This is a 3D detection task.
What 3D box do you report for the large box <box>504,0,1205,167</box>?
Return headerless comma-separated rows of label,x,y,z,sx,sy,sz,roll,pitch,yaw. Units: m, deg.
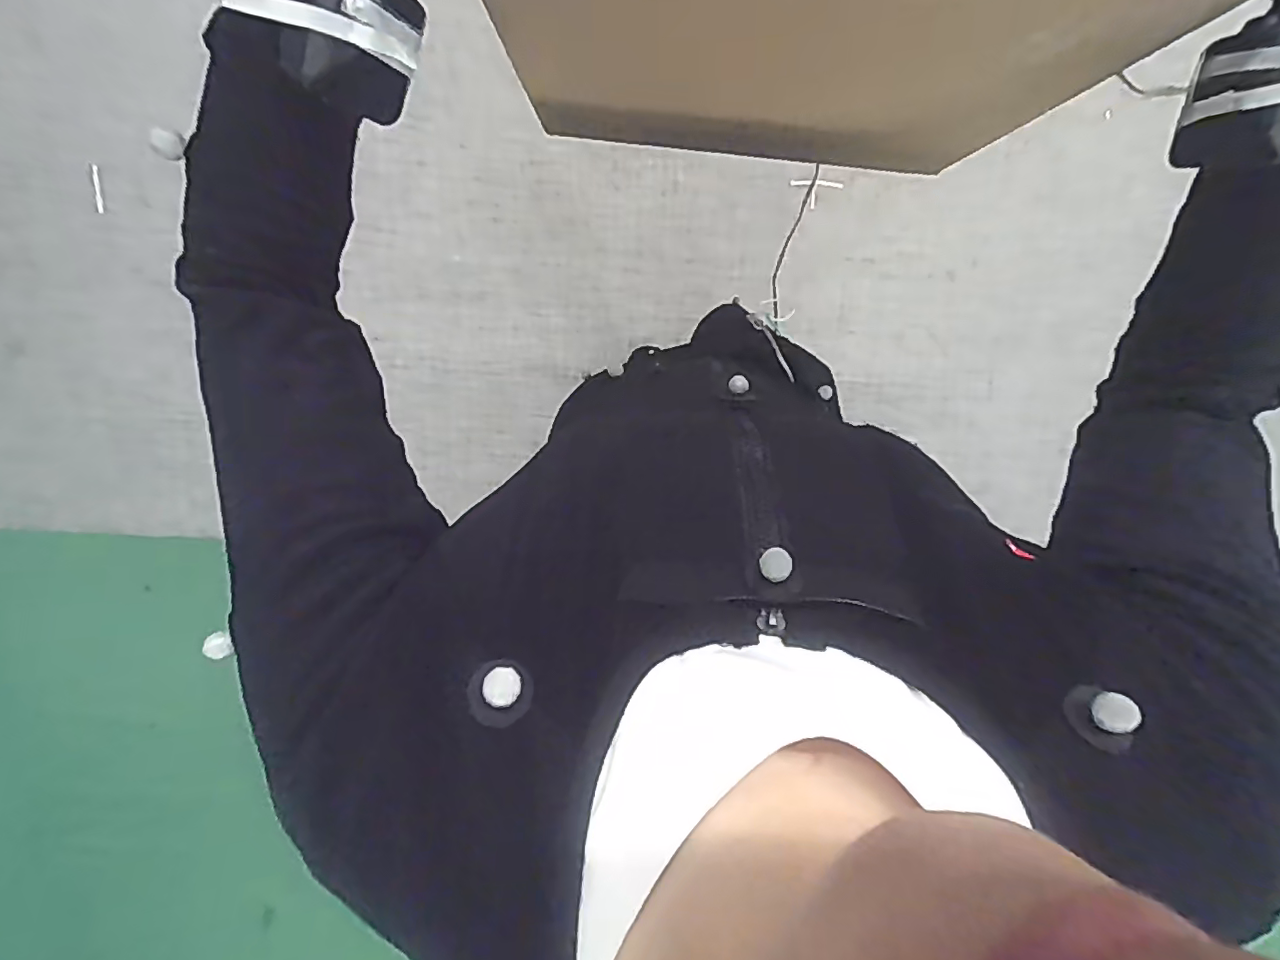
large box,0.118,-0.445,0.373,0.408,0.320,0.320,4,105,-2
